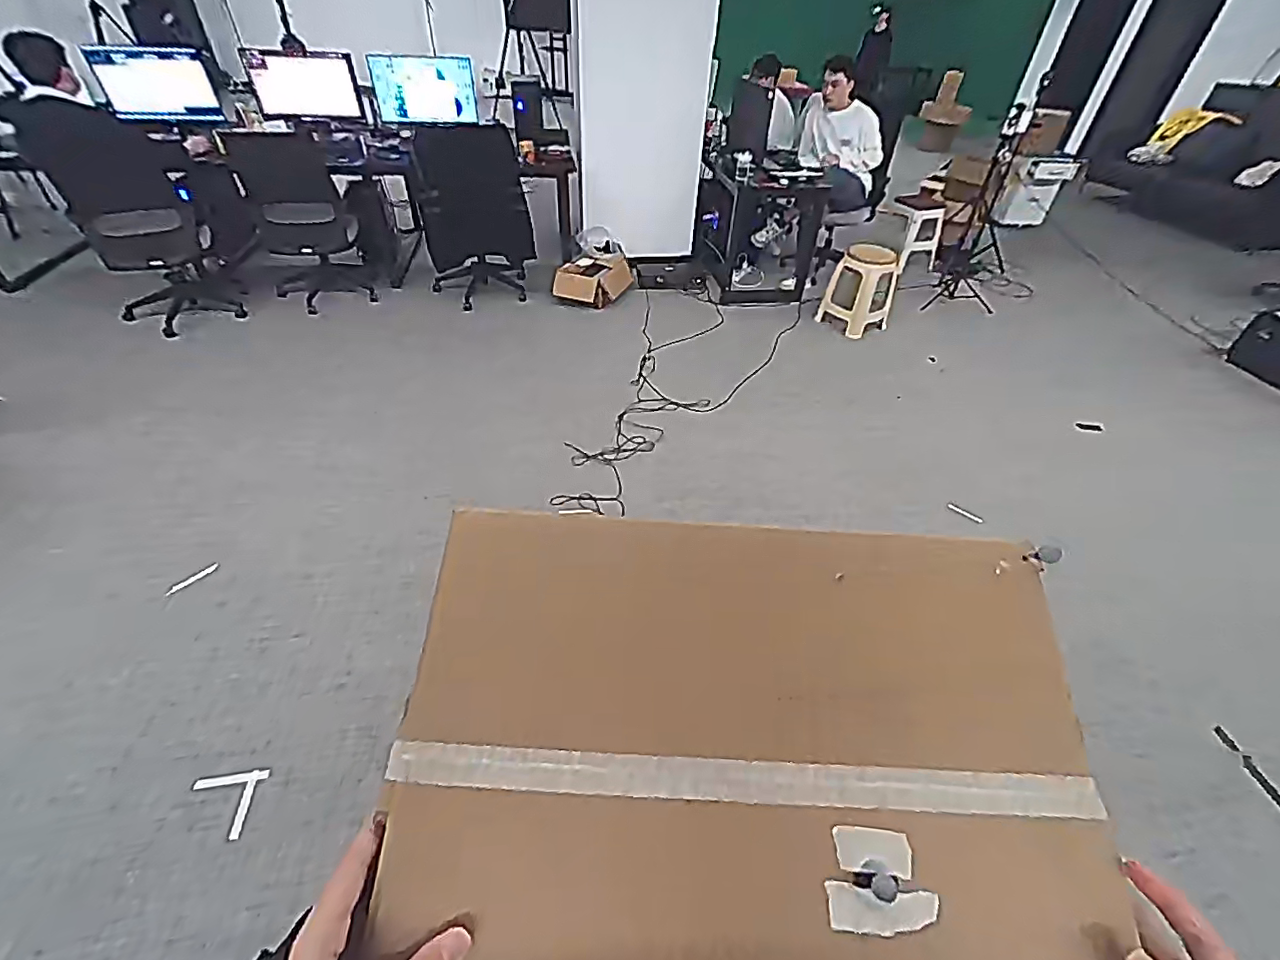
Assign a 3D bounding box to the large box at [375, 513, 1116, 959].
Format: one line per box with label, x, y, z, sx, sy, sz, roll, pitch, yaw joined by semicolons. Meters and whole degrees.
large box;0.057;0.234;0.461;0.408;0.320;0.320;3;66;0
